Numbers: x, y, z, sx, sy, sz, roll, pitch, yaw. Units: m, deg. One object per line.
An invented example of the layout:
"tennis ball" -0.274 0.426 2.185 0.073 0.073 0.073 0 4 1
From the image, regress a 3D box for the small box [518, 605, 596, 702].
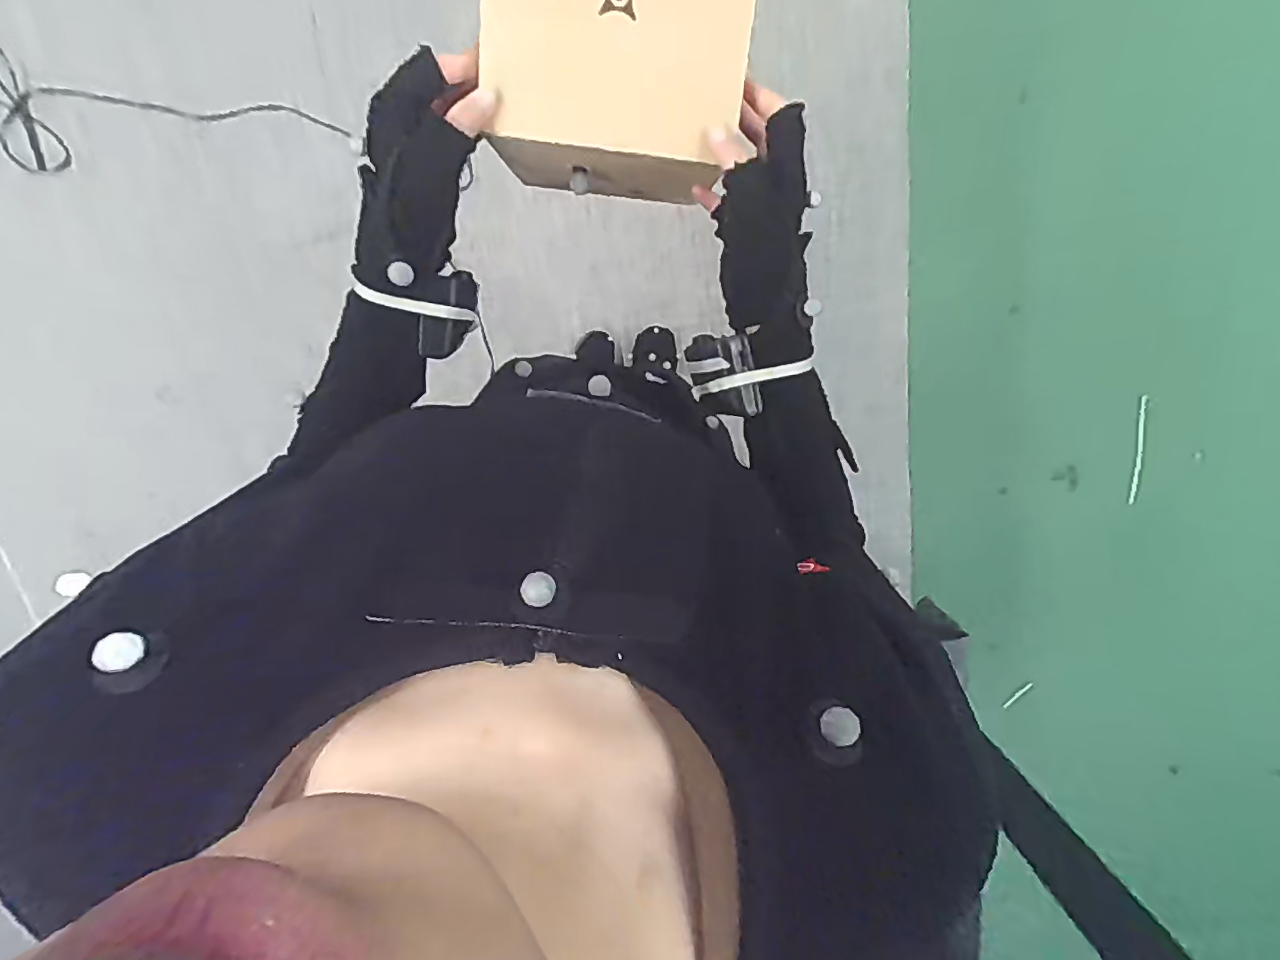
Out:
"small box" -0.210 0.441 1.409 0.168 0.176 0.179 -9 104 -1
